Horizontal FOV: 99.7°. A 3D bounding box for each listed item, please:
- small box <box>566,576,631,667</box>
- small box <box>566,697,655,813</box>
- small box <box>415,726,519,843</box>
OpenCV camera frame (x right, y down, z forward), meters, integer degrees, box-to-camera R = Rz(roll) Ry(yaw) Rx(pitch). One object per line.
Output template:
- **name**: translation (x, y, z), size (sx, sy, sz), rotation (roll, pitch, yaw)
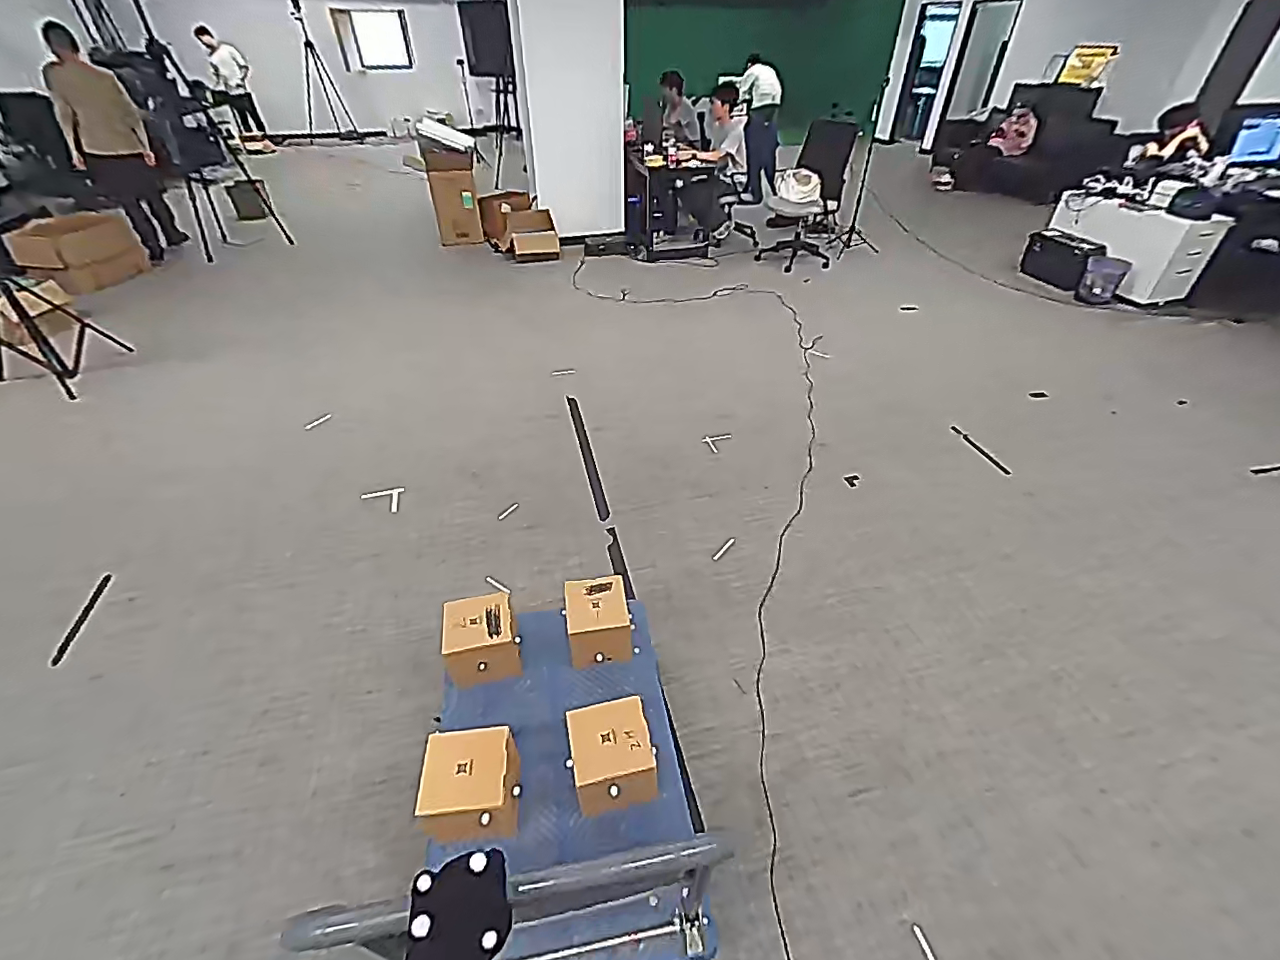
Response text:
- **small box**: translation (-0.118, 0.397, 1.518), size (0.168, 0.176, 0.179), rotation (-6, 41, -7)
- **small box**: translation (-0.066, 0.629, 1.233), size (0.179, 0.176, 0.168), rotation (-9, 40, -10)
- **small box**: translation (-0.369, 0.669, 1.186), size (0.179, 0.176, 0.168), rotation (-3, 39, -7)
